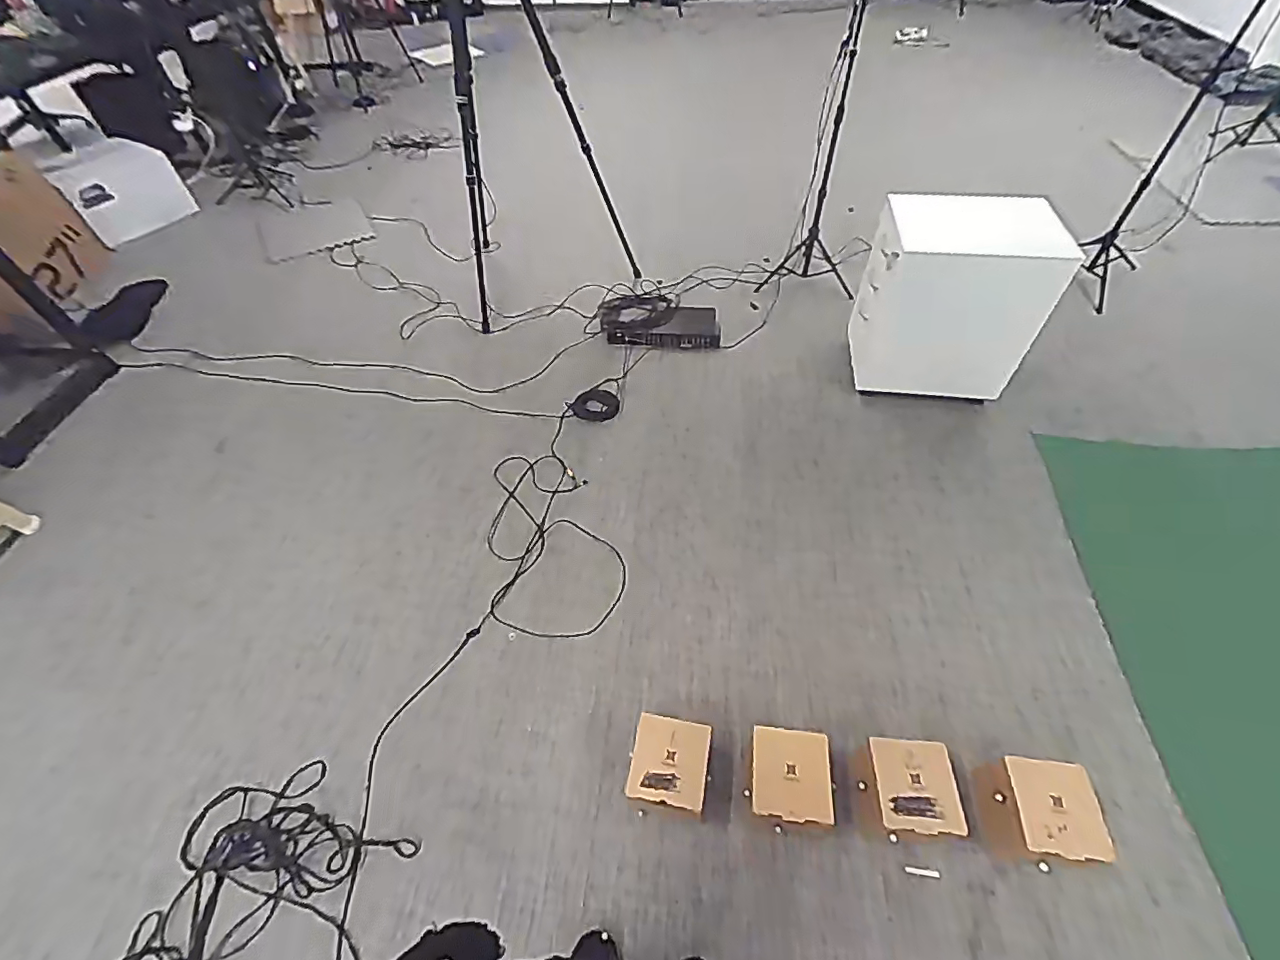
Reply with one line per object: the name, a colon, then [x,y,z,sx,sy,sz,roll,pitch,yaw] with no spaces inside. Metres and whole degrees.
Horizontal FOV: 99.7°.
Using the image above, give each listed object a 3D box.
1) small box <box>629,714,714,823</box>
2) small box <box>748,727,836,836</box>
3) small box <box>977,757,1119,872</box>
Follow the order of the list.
small box: [0.077,0.673,1.254,0.168,0.176,0.179,8,51,10]
small box: [0.337,0.687,1.228,0.168,0.176,0.179,4,51,7]
small box: [0.862,0.724,1.168,0.168,0.176,0.179,4,52,7]
